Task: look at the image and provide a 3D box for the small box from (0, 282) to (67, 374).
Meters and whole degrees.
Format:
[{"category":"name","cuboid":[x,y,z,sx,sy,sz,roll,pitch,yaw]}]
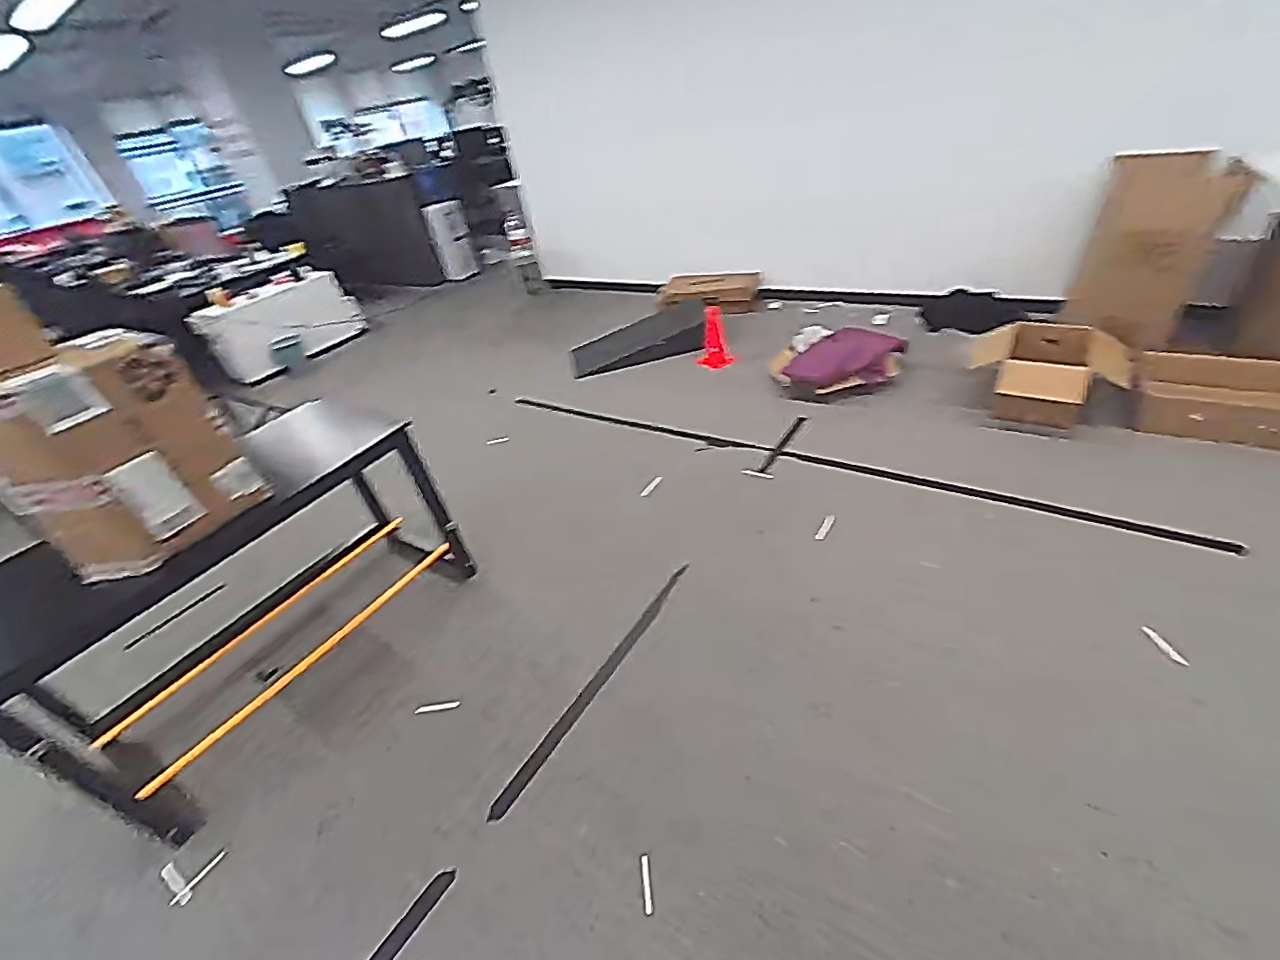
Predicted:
[{"category":"small box","cuboid":[-1.518,-0.346,1.258,0.168,0.176,0.179,10,40,31]}]
